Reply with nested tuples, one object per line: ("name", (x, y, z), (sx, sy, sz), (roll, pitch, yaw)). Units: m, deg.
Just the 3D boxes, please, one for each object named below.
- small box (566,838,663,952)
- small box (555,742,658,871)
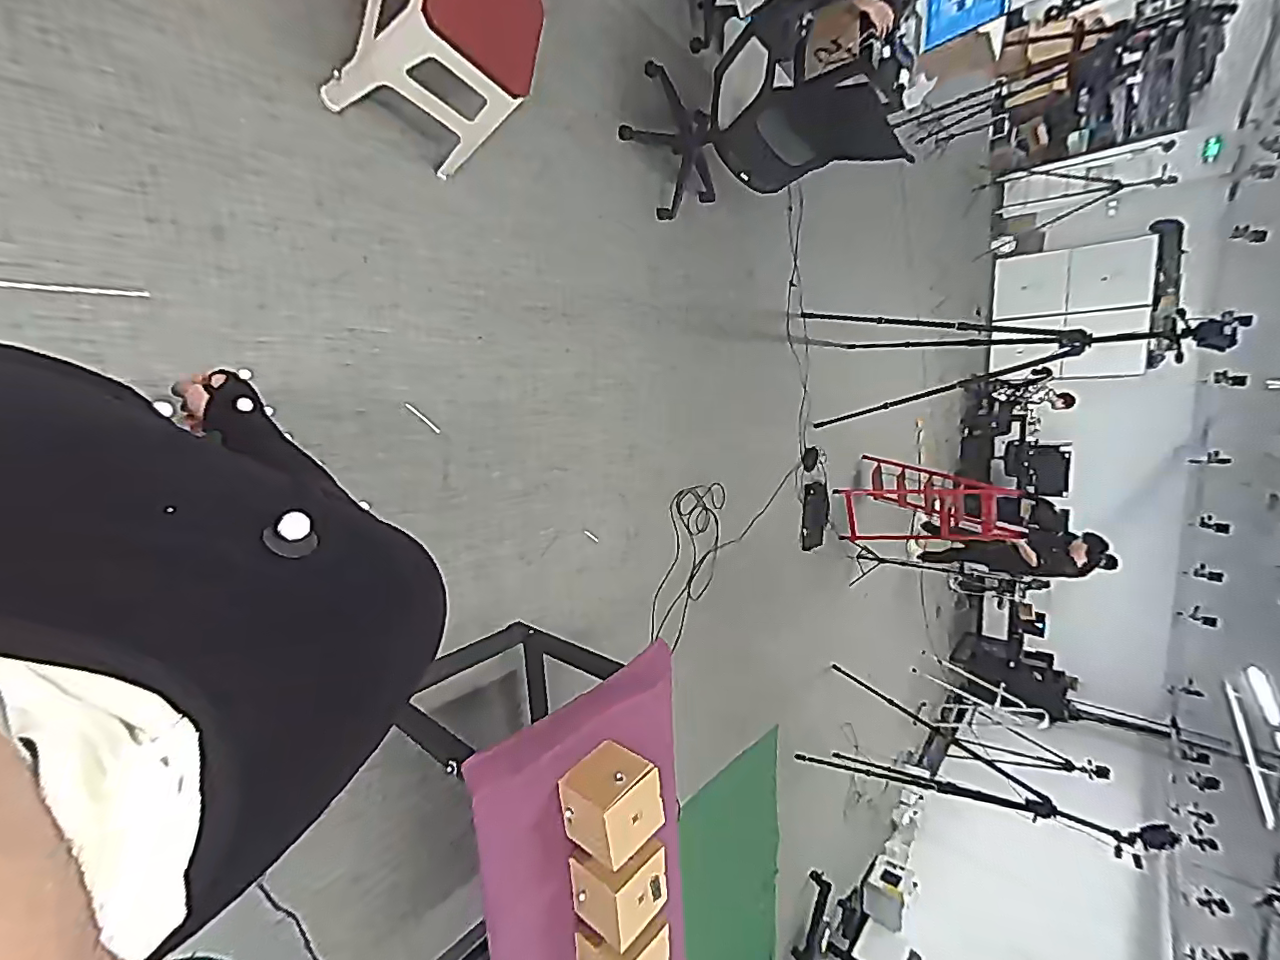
("small box", (-0.063, 0.998, 1.353), (0.179, 0.176, 0.168), (-14, 104, -45))
("small box", (-0.081, 0.775, 1.308), (0.179, 0.176, 0.168), (-20, 108, -44))
